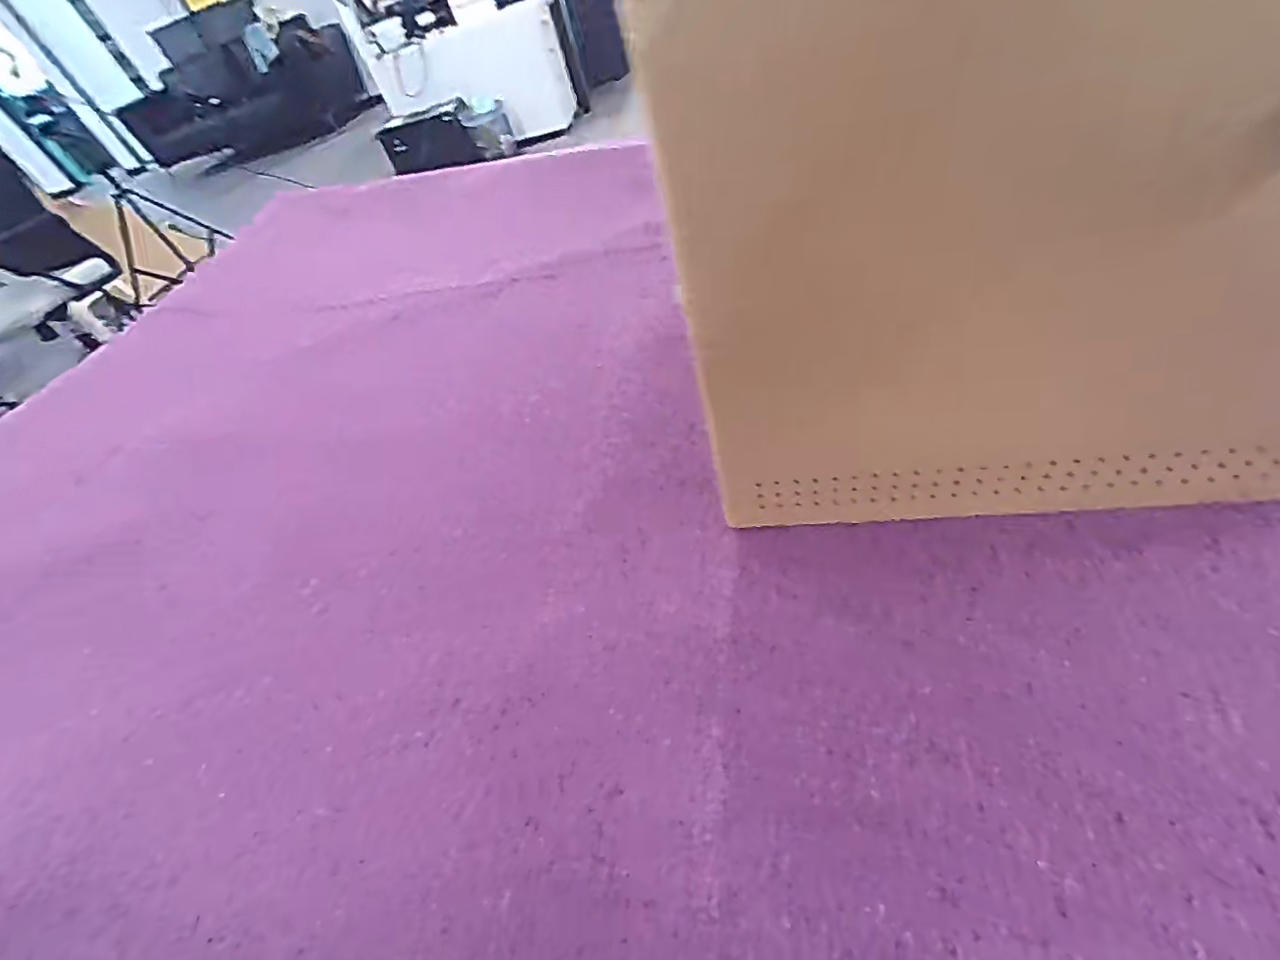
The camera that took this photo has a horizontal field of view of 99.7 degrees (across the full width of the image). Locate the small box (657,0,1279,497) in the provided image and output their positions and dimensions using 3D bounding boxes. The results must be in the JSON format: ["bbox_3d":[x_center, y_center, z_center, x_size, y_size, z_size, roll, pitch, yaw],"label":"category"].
[{"bbox_3d":[0.113,-0.109,0.185,0.179,0.176,0.168,-4,47,15],"label":"small box"}]
